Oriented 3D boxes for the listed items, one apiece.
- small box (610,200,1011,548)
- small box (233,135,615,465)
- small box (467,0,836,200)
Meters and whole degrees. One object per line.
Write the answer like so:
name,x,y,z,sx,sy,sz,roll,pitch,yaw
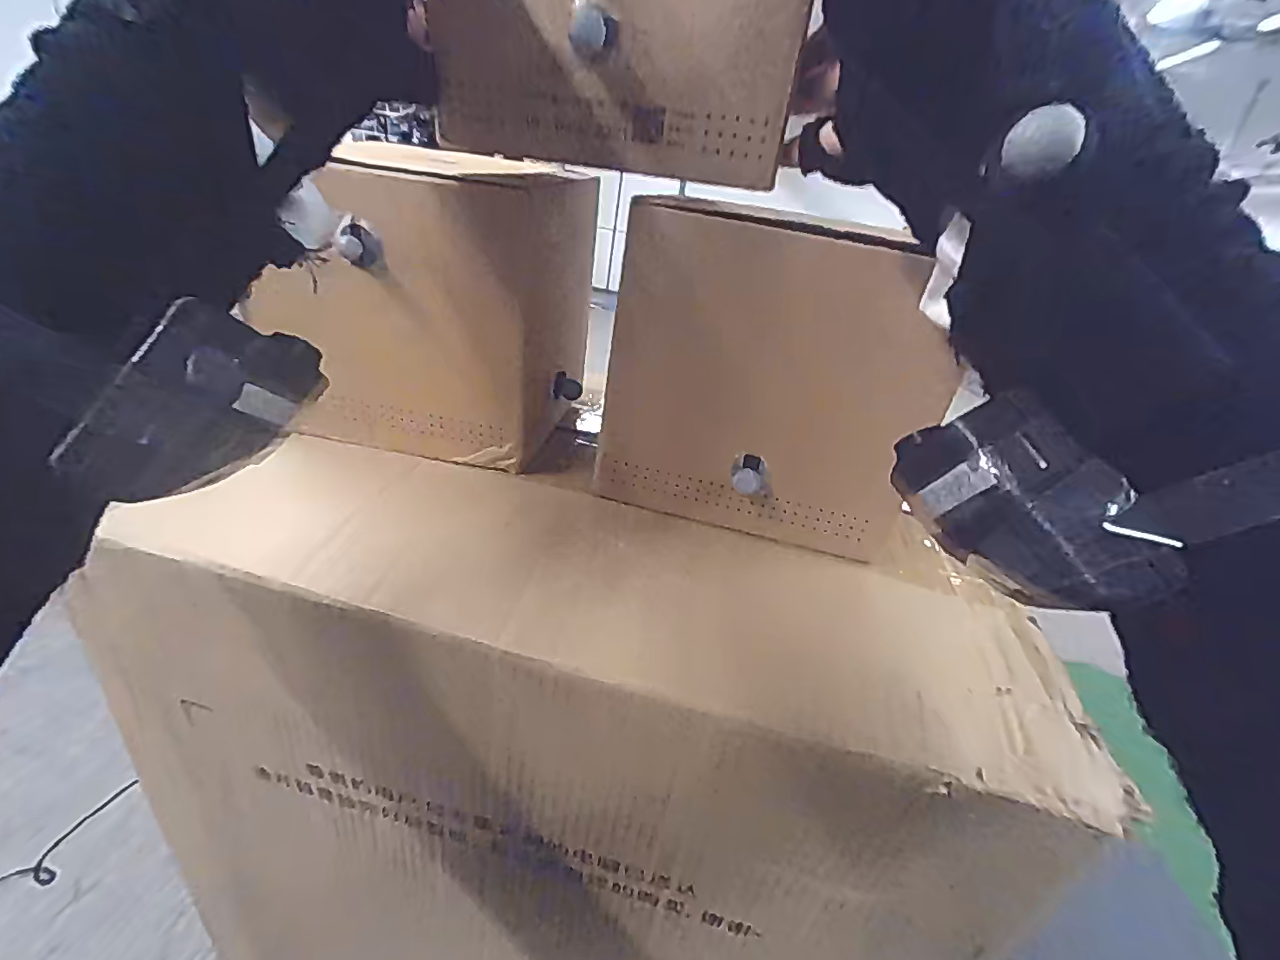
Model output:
small box,0.089,-0.077,0.359,0.179,0.176,0.168,13,29,6
small box,-0.127,-0.127,0.381,0.179,0.176,0.168,12,32,3
small box,0.015,-0.261,0.283,0.168,0.176,0.179,11,36,5
